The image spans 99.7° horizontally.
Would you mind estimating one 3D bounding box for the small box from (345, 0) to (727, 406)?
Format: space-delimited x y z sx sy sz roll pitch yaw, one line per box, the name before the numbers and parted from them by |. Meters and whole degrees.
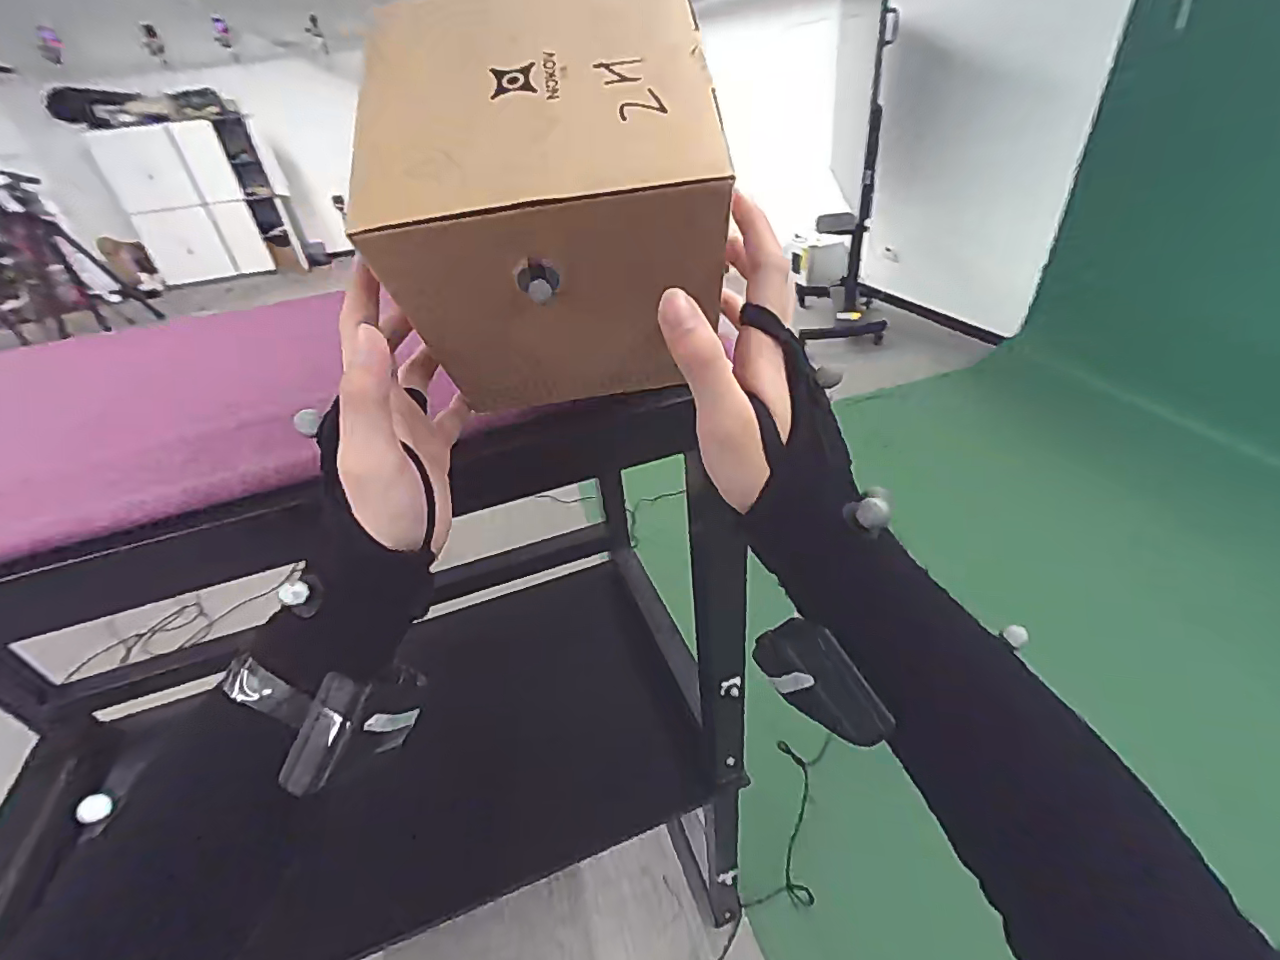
small box | -0.047 -0.160 0.340 0.179 0.176 0.168 -7 70 2
